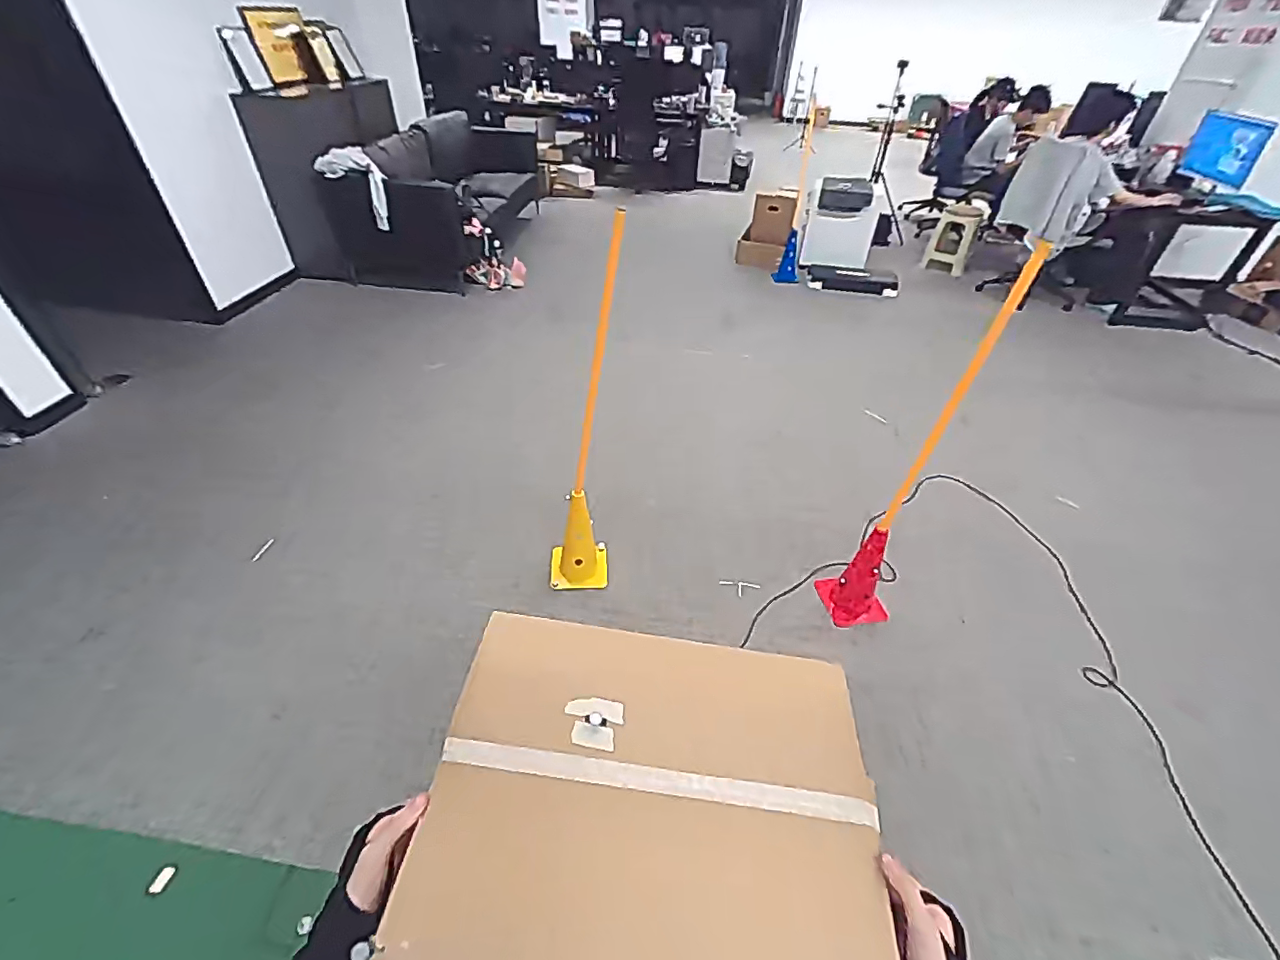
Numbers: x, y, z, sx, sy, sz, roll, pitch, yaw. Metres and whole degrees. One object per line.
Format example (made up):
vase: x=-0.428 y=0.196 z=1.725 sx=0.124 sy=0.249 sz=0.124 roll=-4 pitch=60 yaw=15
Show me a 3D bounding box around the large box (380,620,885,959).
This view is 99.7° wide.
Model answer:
large box: x=0.001 y=0.398 z=0.616 sx=0.408 sy=0.320 sz=0.320 roll=8 pitch=42 yaw=1
